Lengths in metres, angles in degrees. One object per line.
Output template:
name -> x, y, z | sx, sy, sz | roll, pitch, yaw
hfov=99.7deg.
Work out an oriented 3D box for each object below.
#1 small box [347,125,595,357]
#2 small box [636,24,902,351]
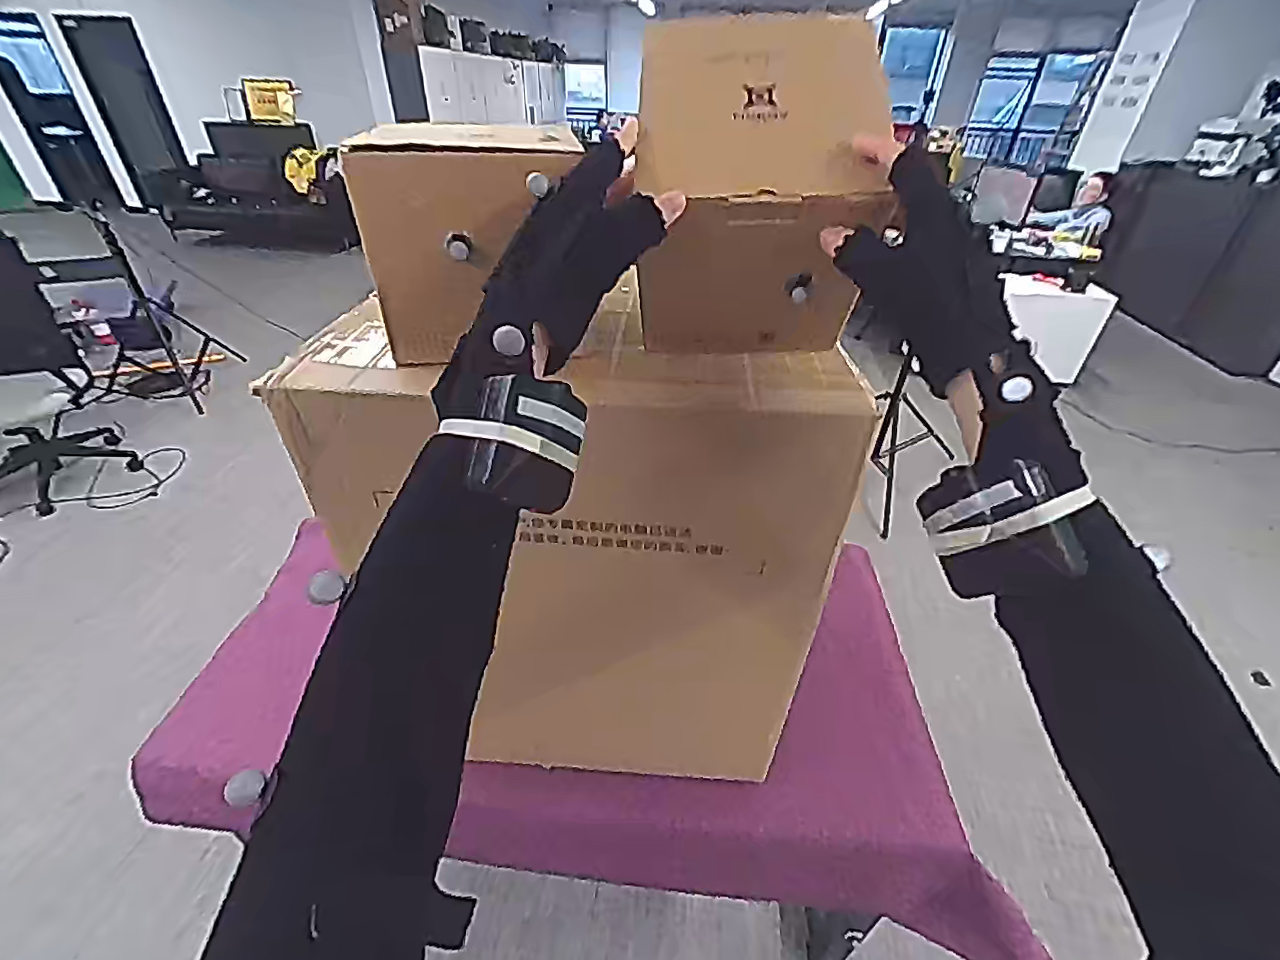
small box -> -0.137, -0.222, 0.502 | 0.179, 0.176, 0.168 | -4, 38, -10
small box -> 0.087, -0.221, 0.438 | 0.168, 0.176, 0.179 | 1, 66, 3
